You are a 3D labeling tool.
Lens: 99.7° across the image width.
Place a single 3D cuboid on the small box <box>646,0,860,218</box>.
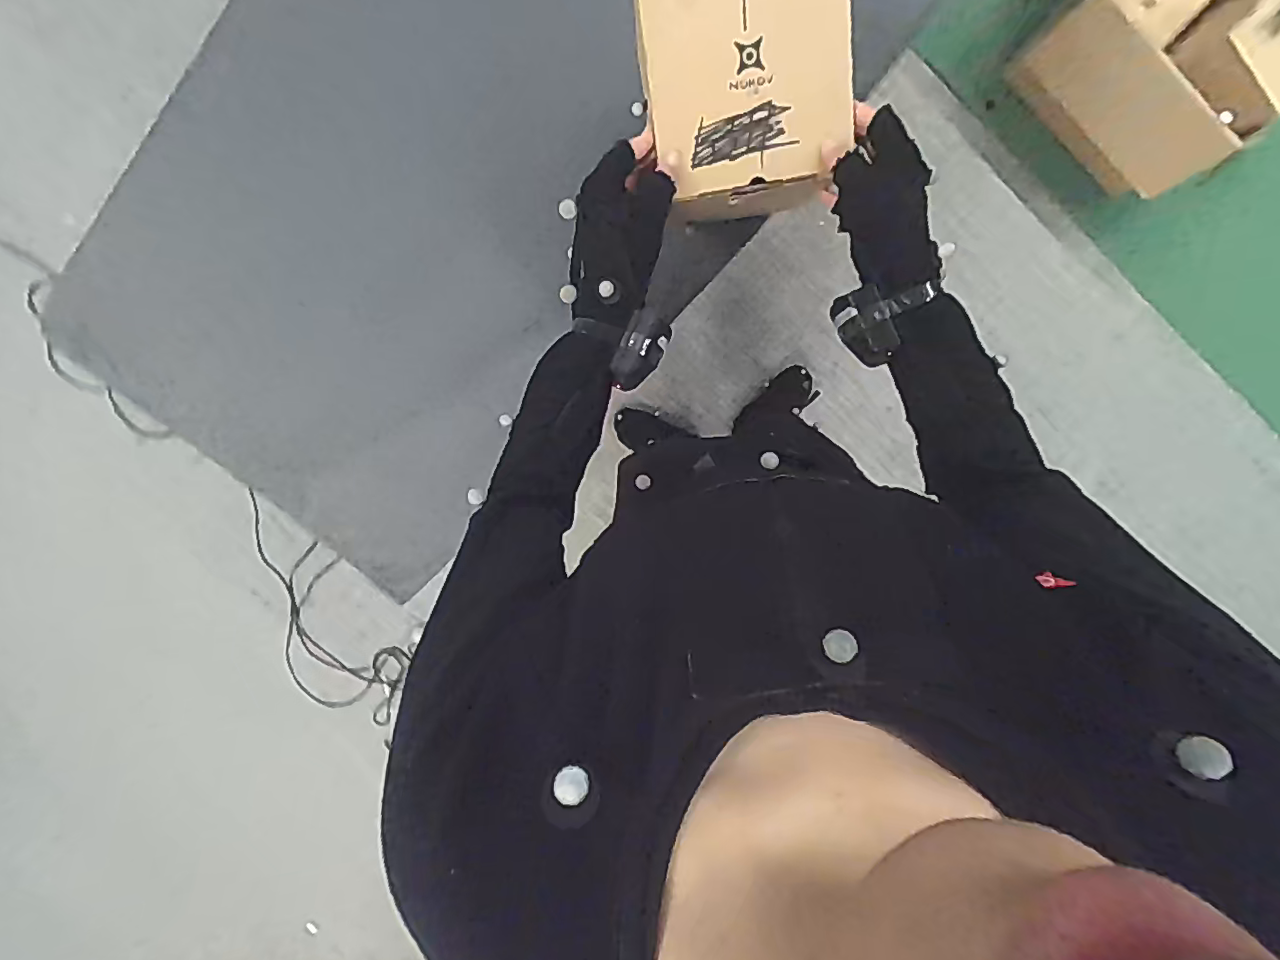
[{"bbox_3d":[0.097,-0.358,0.512,0.168,0.176,0.179,-7,107,4],"label":"small box"}]
